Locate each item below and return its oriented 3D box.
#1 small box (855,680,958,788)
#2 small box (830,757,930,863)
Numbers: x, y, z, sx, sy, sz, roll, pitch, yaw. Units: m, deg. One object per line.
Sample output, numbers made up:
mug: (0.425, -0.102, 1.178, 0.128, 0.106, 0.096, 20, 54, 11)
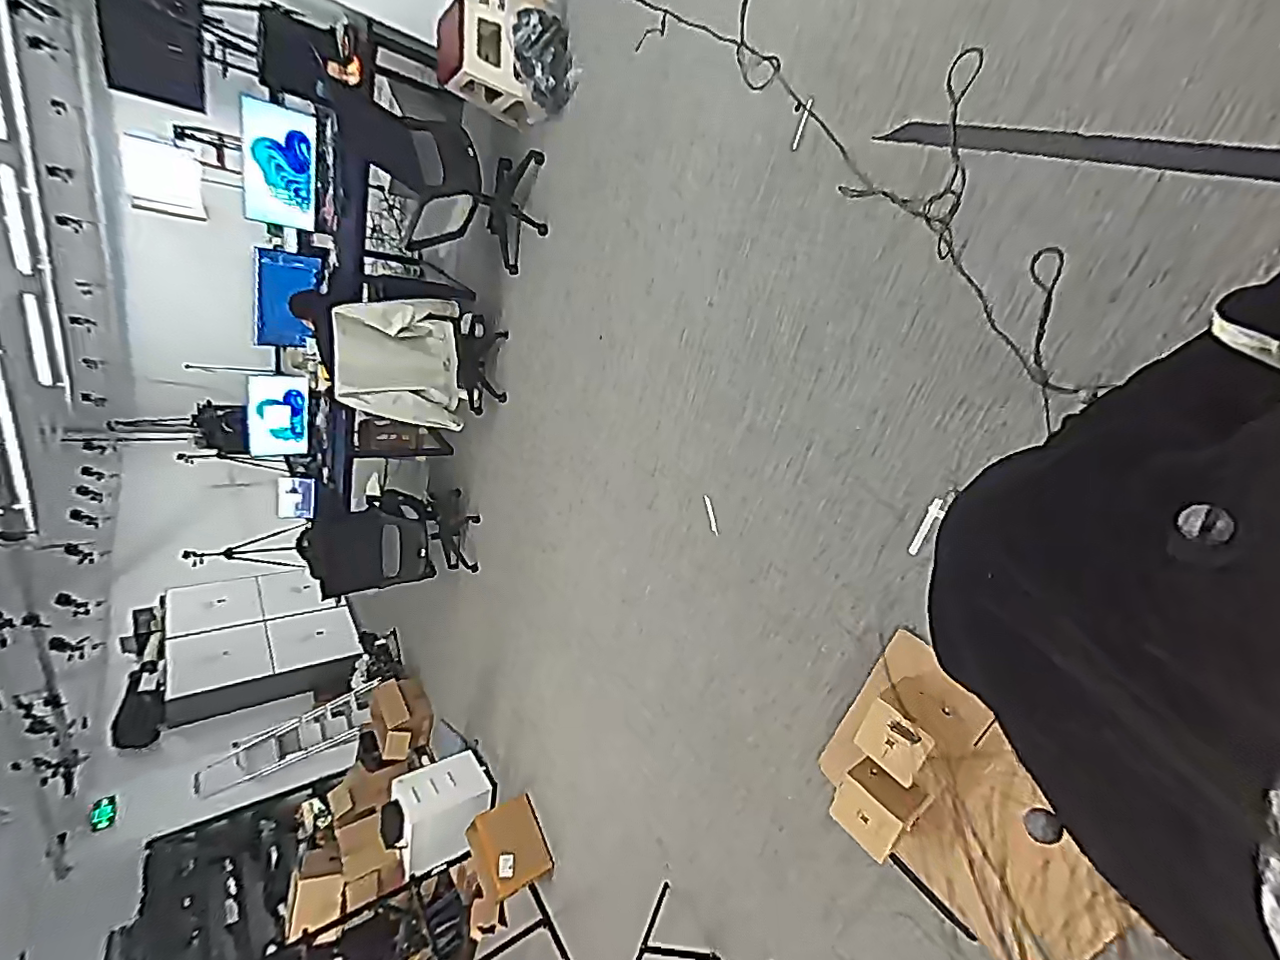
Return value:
small box: (0.718, 0.670, 1.449, 0.168, 0.176, 0.179, 36, 121, 42)
small box: (0.678, 0.915, 1.528, 0.179, 0.176, 0.168, 33, 119, 43)
